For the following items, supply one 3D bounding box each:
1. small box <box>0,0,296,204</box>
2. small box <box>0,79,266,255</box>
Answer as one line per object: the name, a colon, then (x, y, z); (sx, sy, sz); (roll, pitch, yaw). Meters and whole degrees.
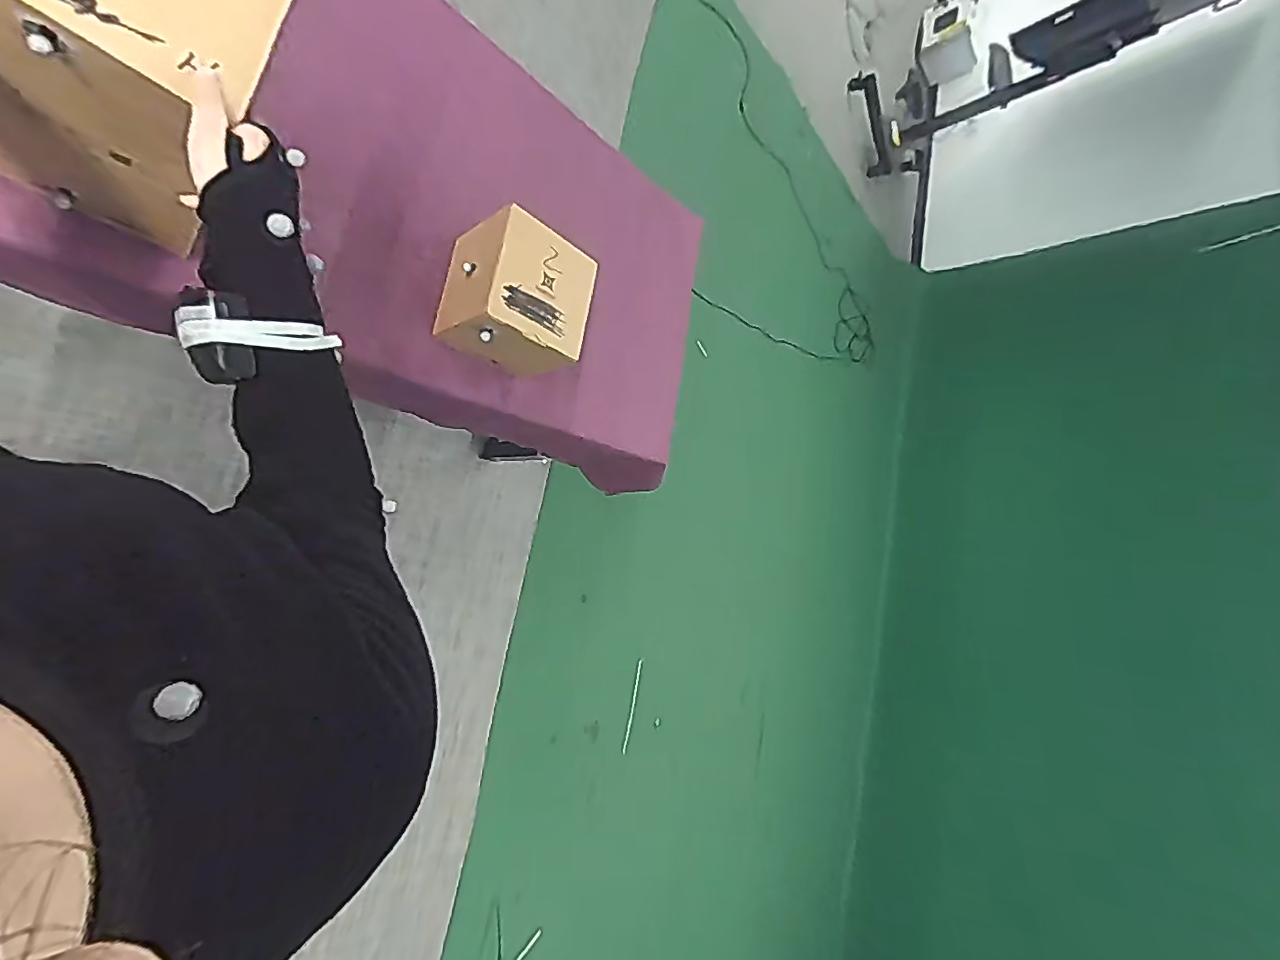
small box: (-0.393, -0.361, 0.419); (0.168, 0.176, 0.179); (22, 74, -41)
small box: (-0.509, -0.361, 0.536); (0.168, 0.176, 0.179); (23, 75, -42)
